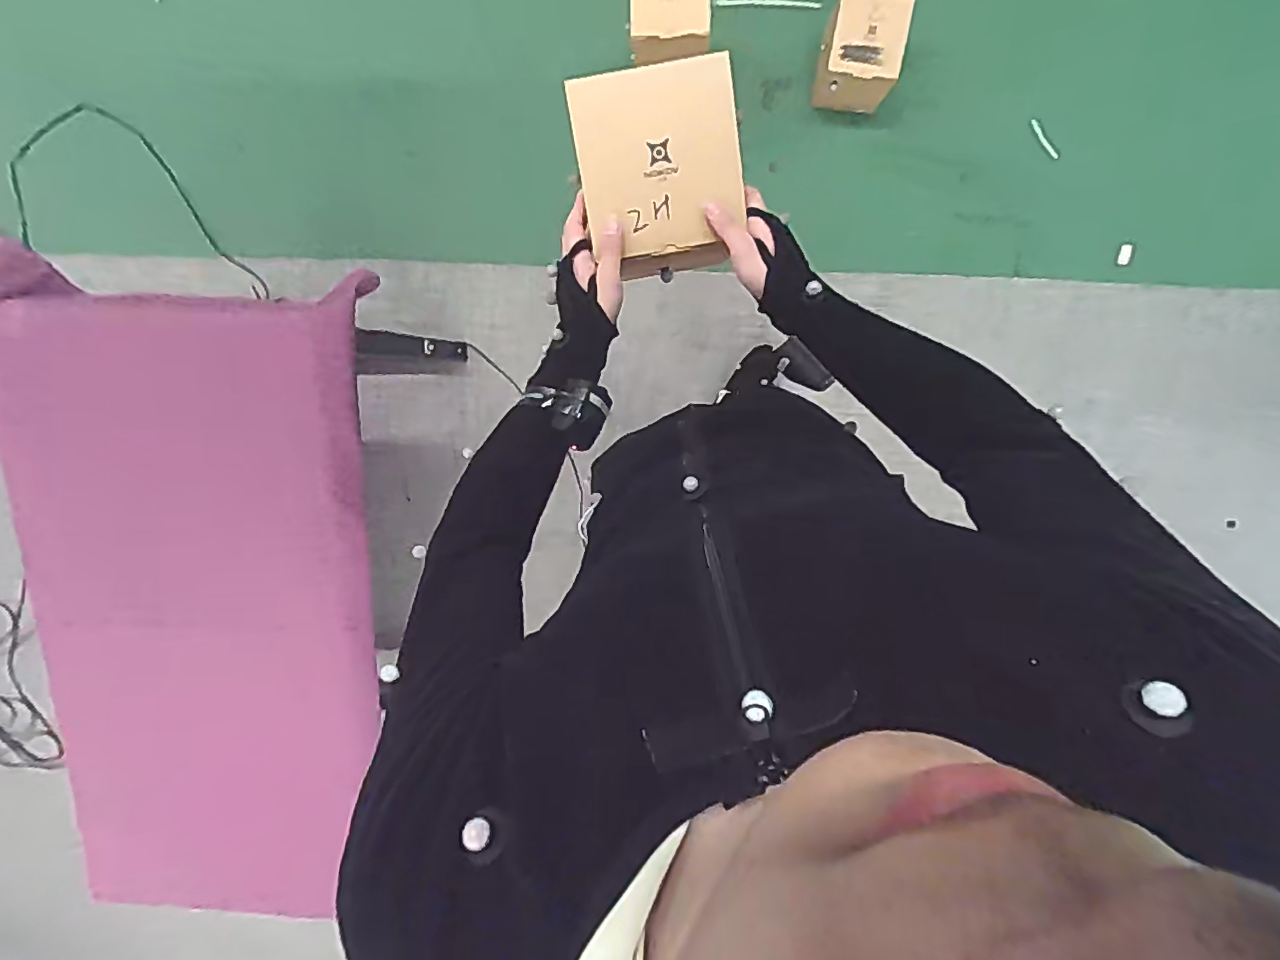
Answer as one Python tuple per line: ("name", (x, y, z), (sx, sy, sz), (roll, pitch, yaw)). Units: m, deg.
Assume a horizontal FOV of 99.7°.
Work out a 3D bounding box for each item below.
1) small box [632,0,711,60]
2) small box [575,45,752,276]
("small box", (0.066, -1.023, 1.184), (0.168, 0.176, 0.179), (0, 101, 3))
("small box", (0.025, -0.347, 0.623), (0.168, 0.176, 0.179), (-8, 104, 2))
